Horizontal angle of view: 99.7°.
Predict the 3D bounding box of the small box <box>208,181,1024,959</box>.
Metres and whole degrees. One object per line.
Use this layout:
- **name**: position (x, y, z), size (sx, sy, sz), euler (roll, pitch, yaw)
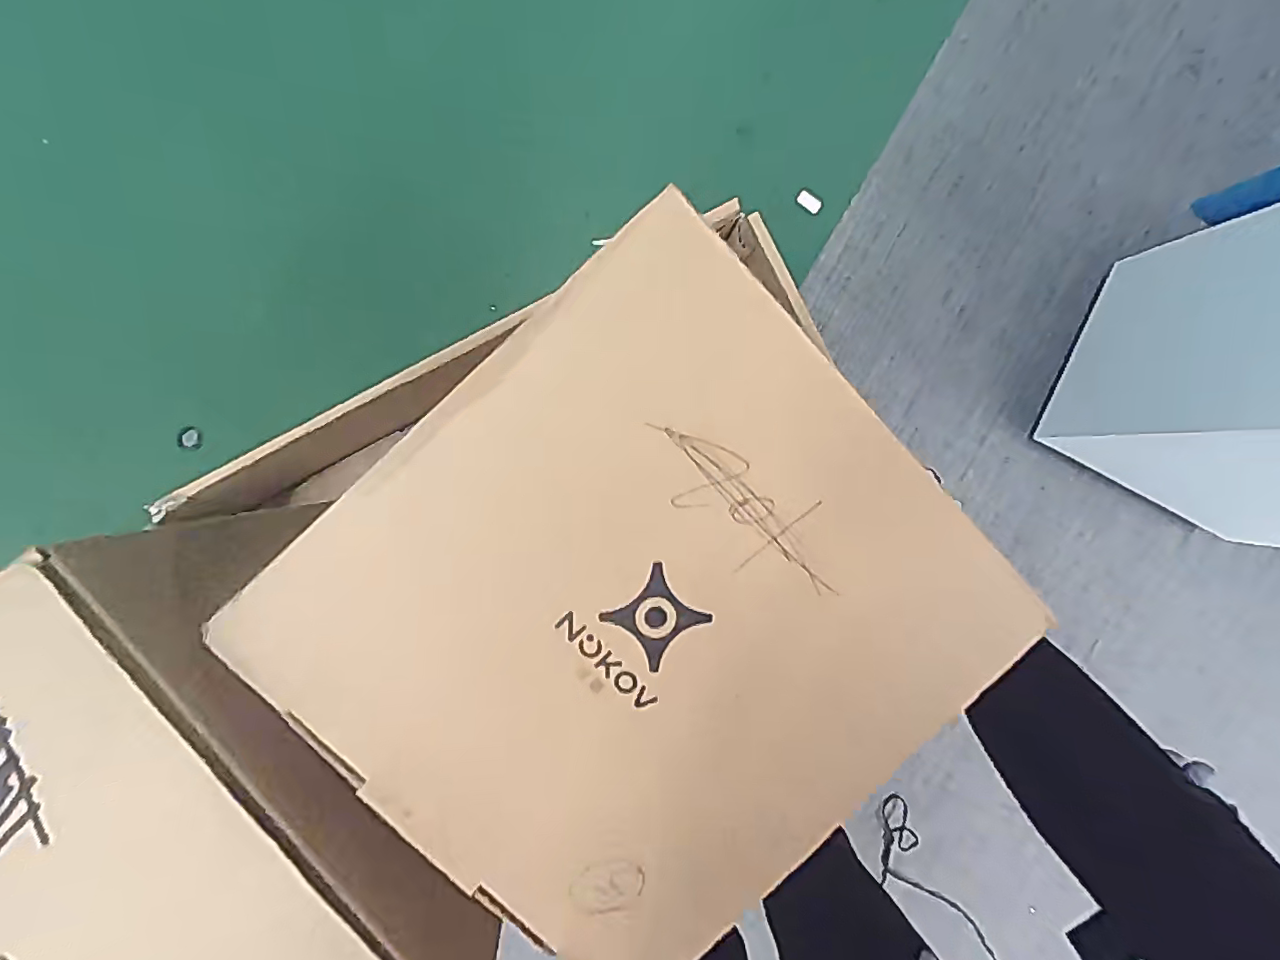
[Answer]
- **small box**: position (-0.007, 0.030, 0.232), size (0.179, 0.176, 0.168), euler (-43, 95, 0)
